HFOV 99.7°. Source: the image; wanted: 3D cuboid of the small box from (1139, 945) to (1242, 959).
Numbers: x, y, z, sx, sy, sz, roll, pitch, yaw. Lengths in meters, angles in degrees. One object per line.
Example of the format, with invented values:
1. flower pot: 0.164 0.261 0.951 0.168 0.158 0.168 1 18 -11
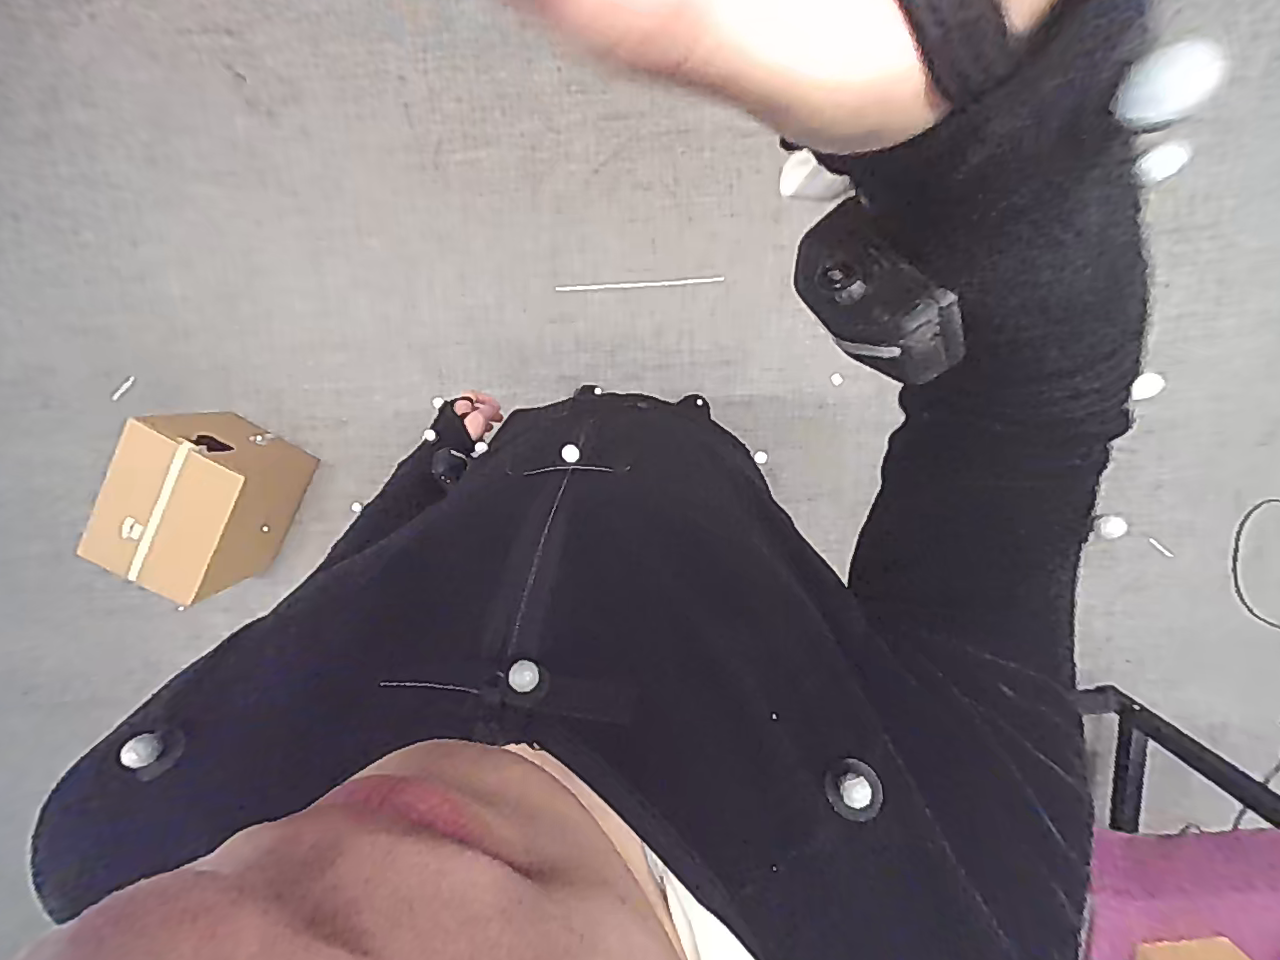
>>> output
1. small box: 1.052 0.985 0.972 0.179 0.176 0.168 -5 100 0

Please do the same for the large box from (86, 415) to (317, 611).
1. large box: -1.193 0.072 1.507 0.320 0.320 0.408 29 100 -3
